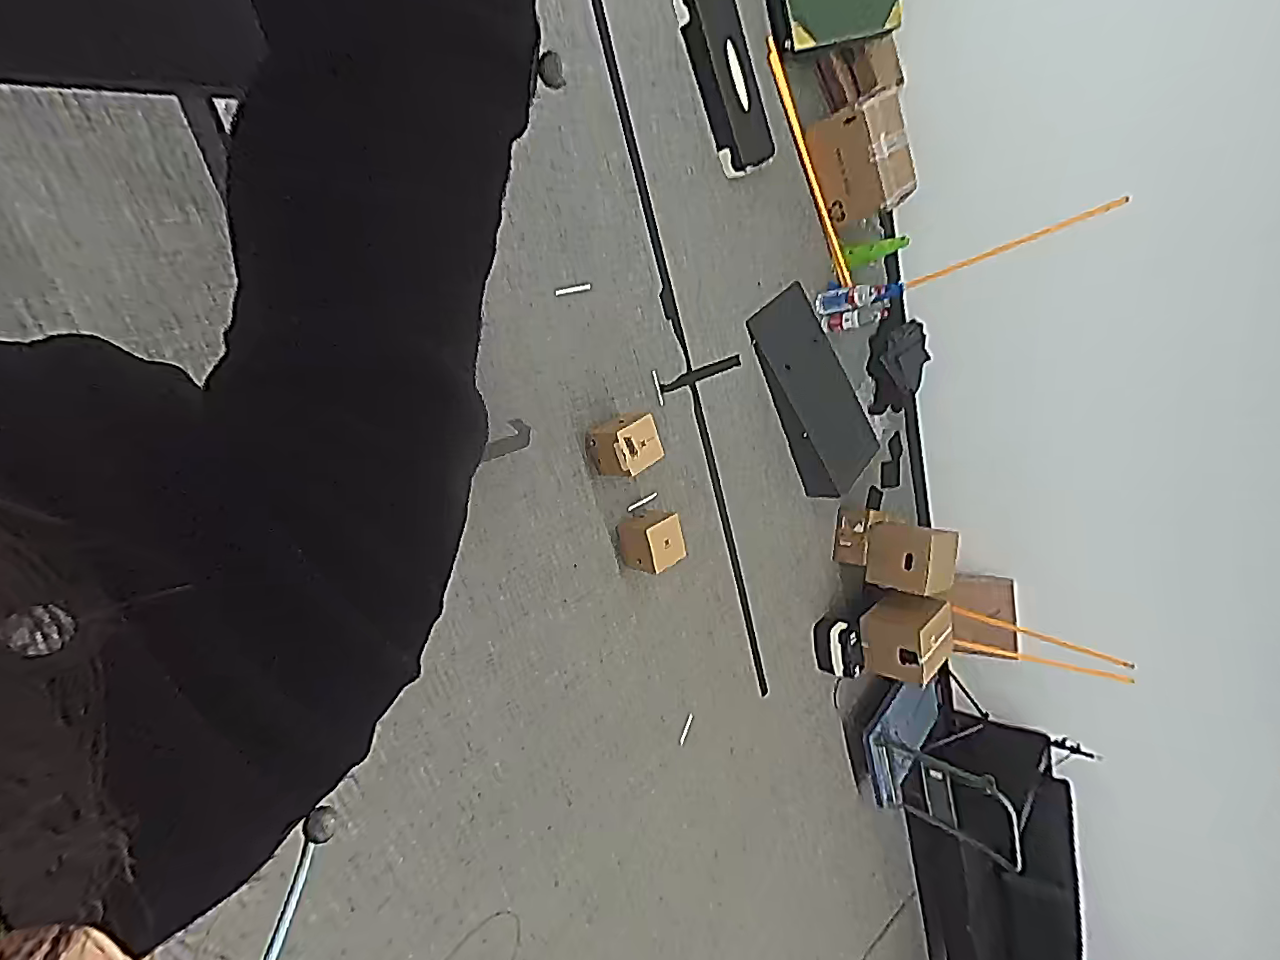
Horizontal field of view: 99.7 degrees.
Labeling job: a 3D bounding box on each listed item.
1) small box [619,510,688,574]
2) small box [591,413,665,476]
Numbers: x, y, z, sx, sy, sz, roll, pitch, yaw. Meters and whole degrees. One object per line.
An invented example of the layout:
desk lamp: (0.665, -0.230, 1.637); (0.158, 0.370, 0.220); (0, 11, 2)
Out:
small box: (0.047, 0.223, 1.987); (0.168, 0.176, 0.179); (-25, 108, -38)
small box: (-0.050, -0.123, 1.880); (0.179, 0.176, 0.168); (-35, 115, -36)
